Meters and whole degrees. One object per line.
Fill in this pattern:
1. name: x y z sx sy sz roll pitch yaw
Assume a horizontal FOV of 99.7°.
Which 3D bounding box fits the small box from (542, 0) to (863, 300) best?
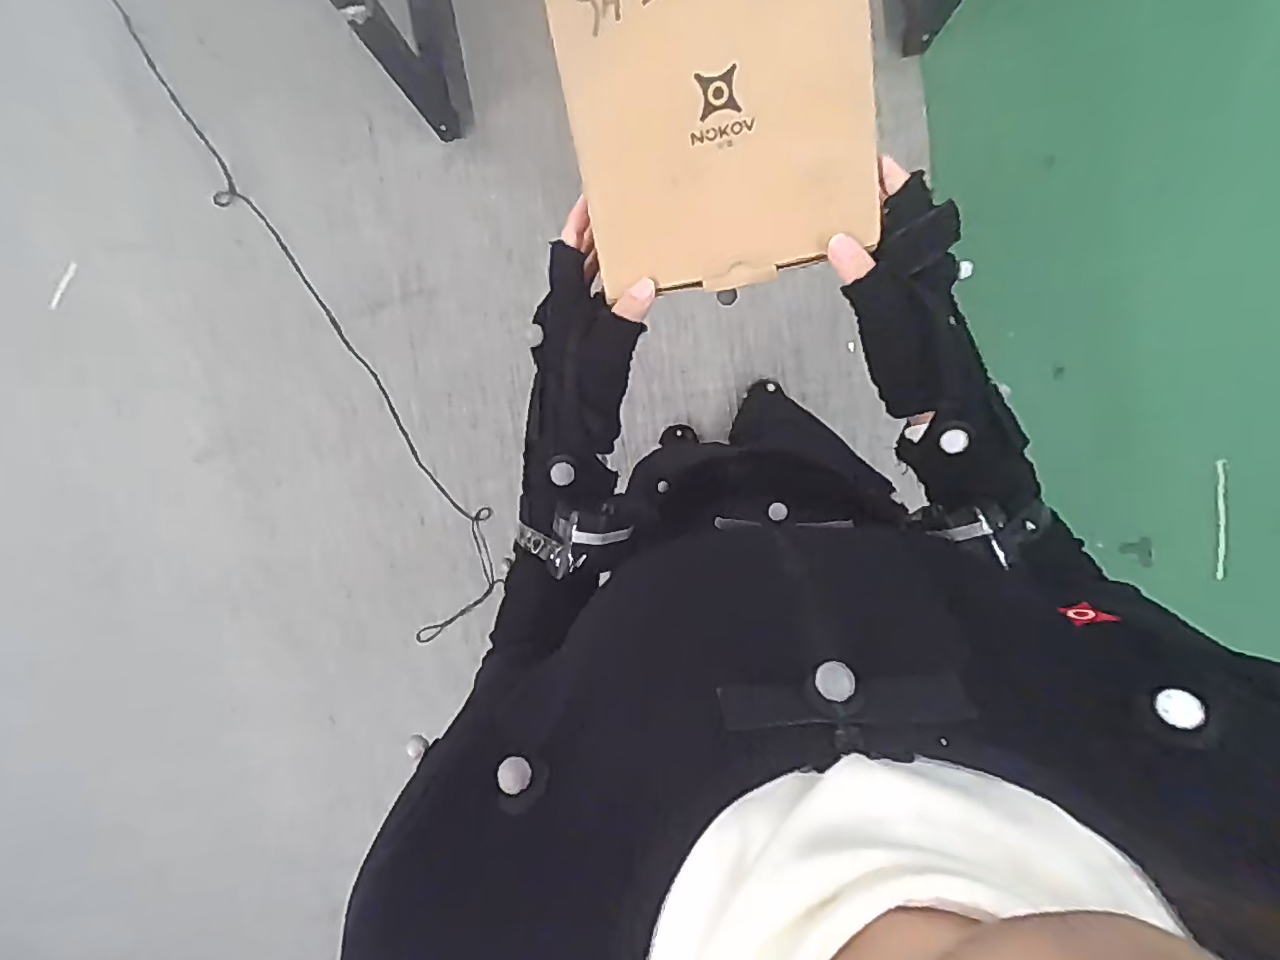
1. small box: 0.045 -0.233 0.378 0.168 0.176 0.179 -9 109 7
